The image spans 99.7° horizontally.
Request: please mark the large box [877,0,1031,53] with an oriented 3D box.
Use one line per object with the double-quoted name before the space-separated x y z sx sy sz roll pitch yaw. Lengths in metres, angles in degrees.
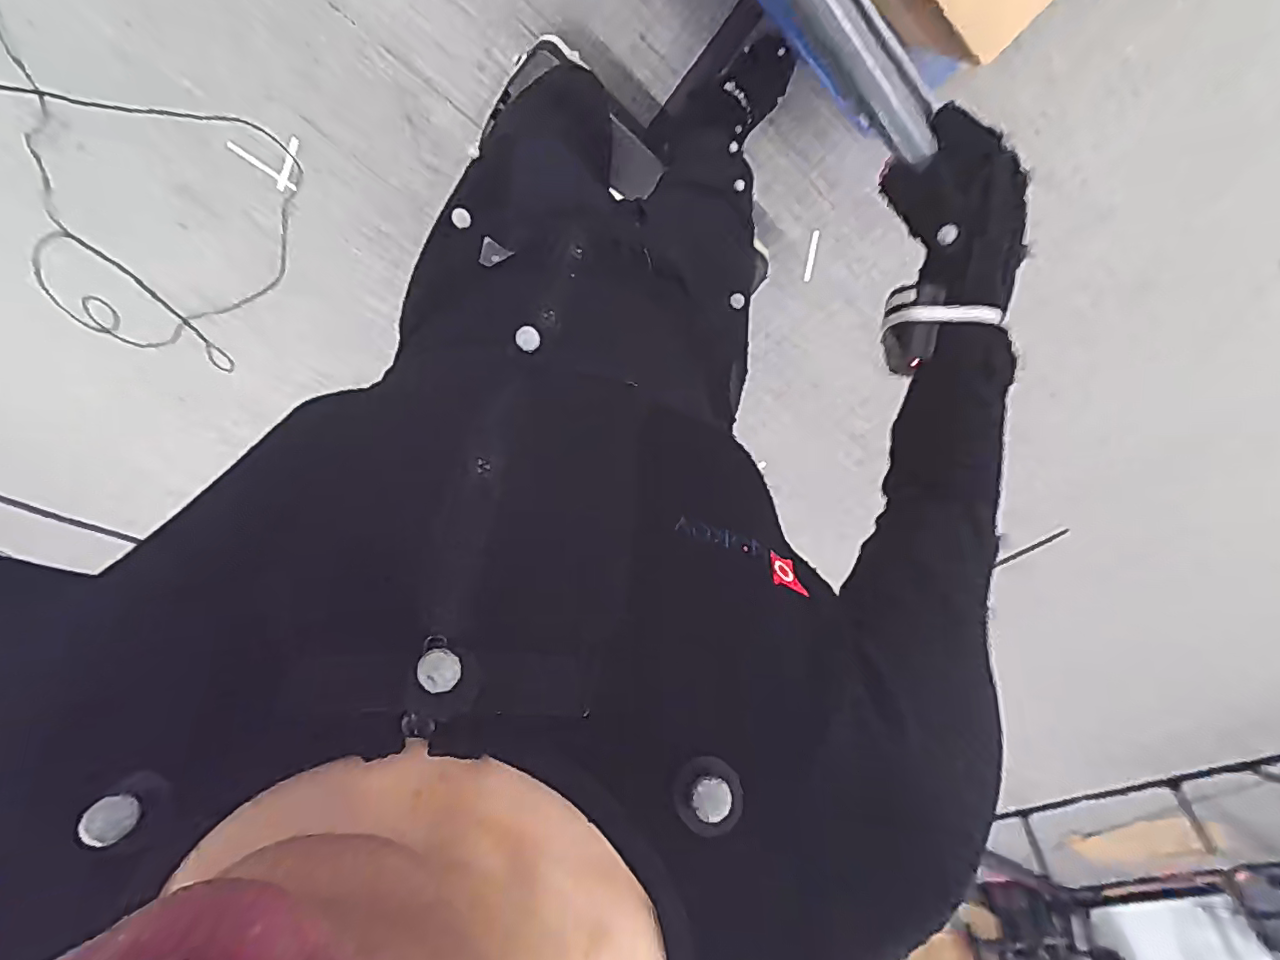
"large box" 0.370 -0.818 0.634 0.408 0.320 0.320 31 129 -23
